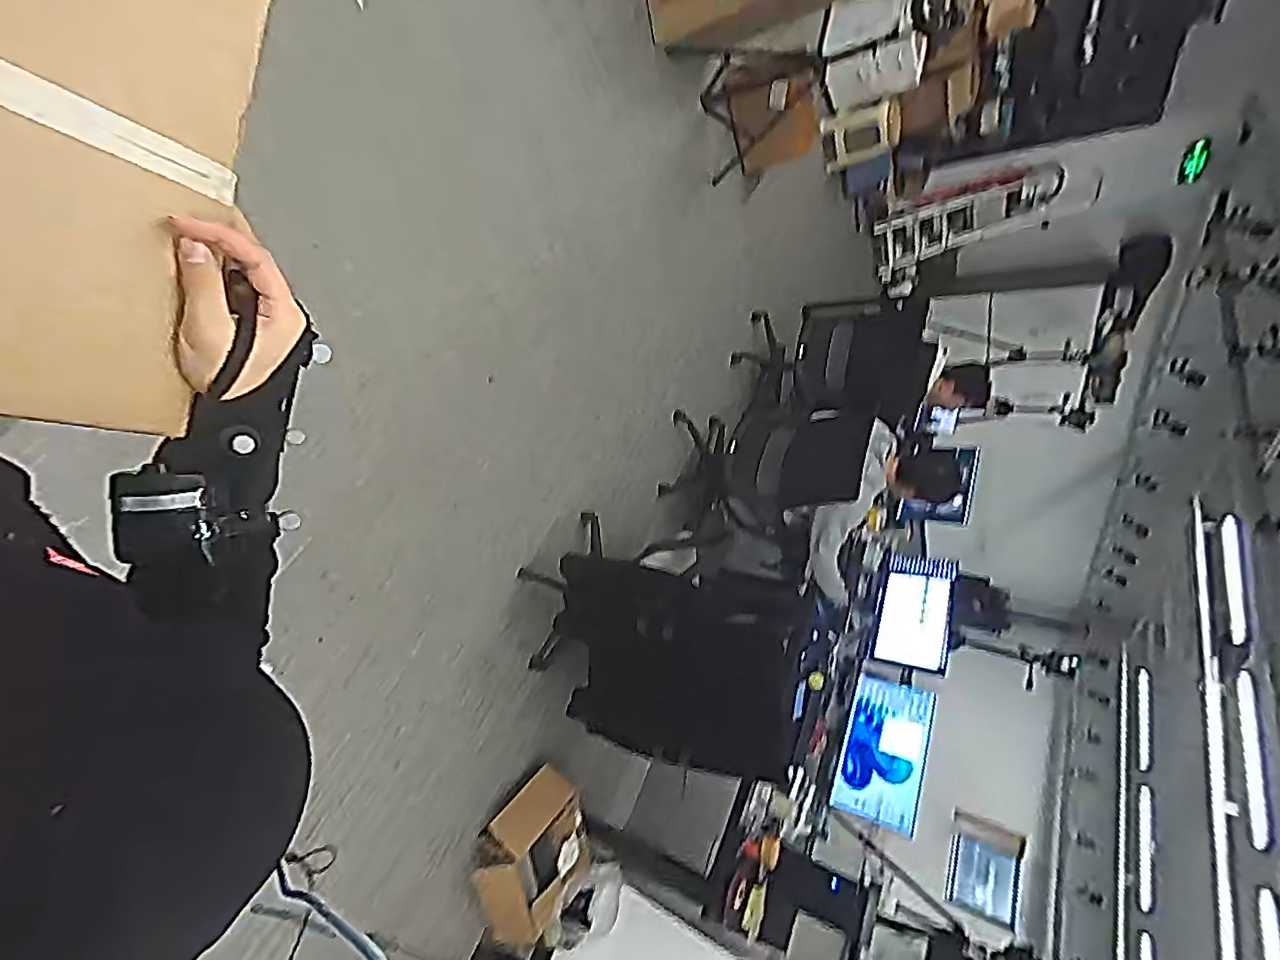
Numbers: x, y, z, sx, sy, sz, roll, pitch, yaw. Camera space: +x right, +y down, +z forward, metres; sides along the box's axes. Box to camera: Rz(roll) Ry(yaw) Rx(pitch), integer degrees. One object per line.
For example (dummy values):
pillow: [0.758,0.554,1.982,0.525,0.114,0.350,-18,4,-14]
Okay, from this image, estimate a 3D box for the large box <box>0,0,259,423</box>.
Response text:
large box: [-0.493,-0.224,0.260,0.408,0.320,0.320,8,95,-57]
